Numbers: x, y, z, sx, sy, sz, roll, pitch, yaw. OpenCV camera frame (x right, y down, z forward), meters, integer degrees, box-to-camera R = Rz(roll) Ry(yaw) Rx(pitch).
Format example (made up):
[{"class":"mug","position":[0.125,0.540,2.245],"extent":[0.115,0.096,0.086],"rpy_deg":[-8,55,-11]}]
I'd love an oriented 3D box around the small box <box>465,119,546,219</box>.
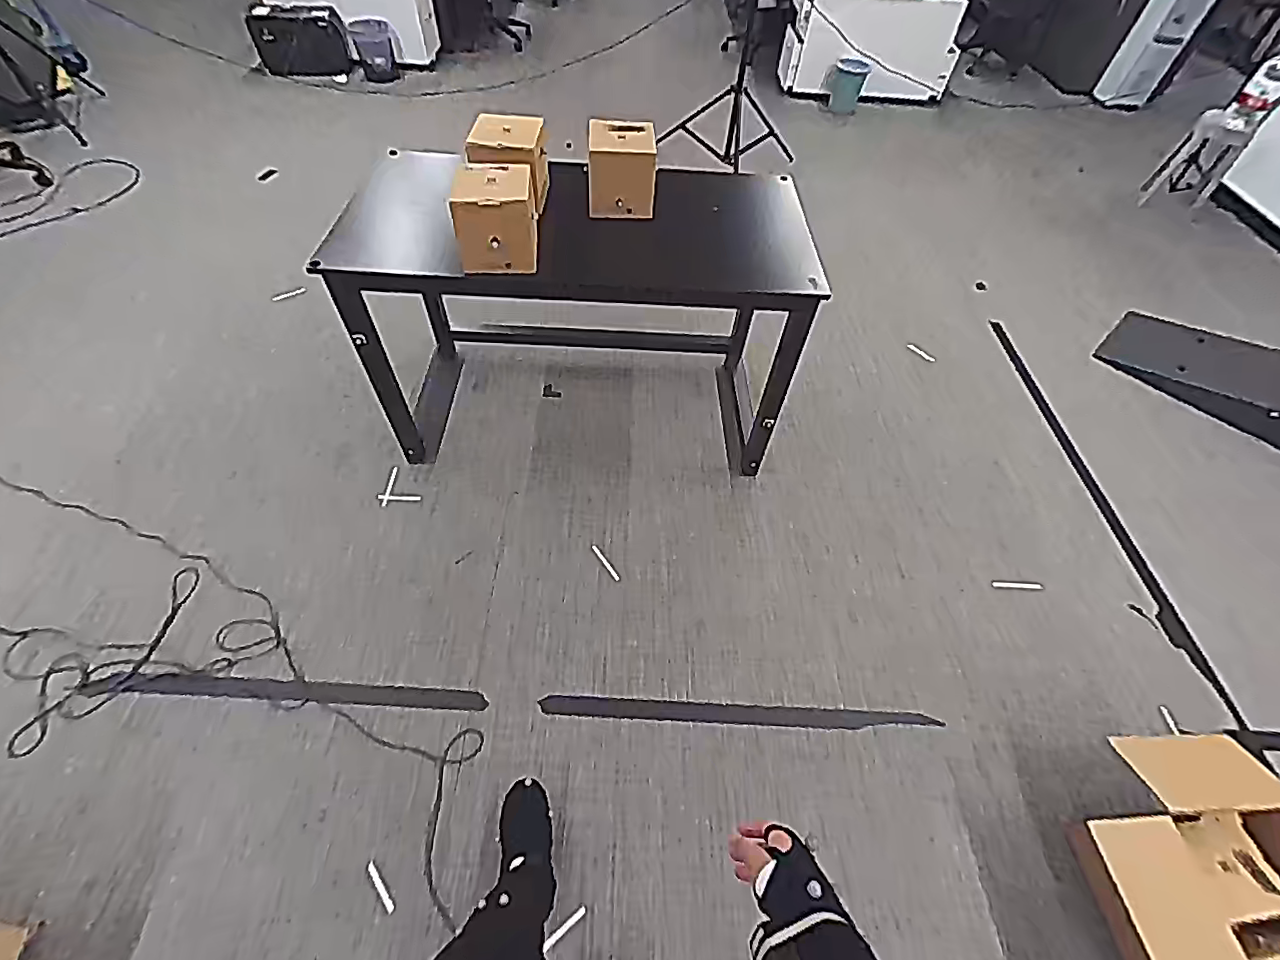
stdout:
[{"class":"small box","position":[-0.340,-0.805,1.404],"extent":[0.168,0.176,0.179],"rpy_deg":[3,54,-2]}]

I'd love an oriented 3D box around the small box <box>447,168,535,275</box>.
[{"class":"small box","position":[-0.332,-0.588,1.241],"extent":[0.168,0.176,0.179],"rpy_deg":[-3,54,-6]}]
